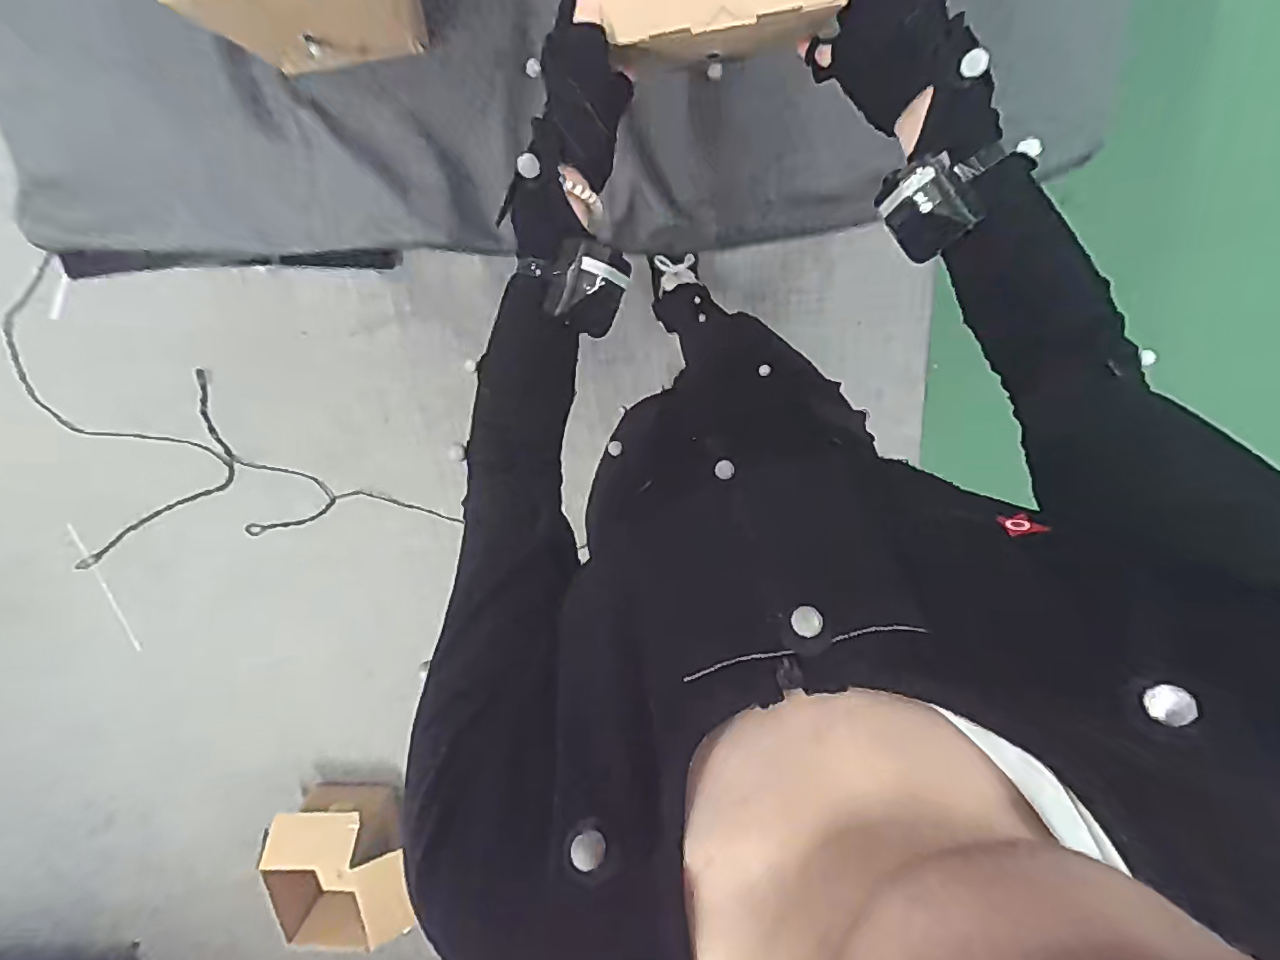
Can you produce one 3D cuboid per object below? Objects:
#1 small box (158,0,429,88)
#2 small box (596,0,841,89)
[{"bbox_3d":[-0.317,-0.494,0.489,0.168,0.176,0.179,-5,109,4],"label":"small box"},{"bbox_3d":[0.050,-0.420,0.402,0.168,0.176,0.179,-4,118,8],"label":"small box"}]
